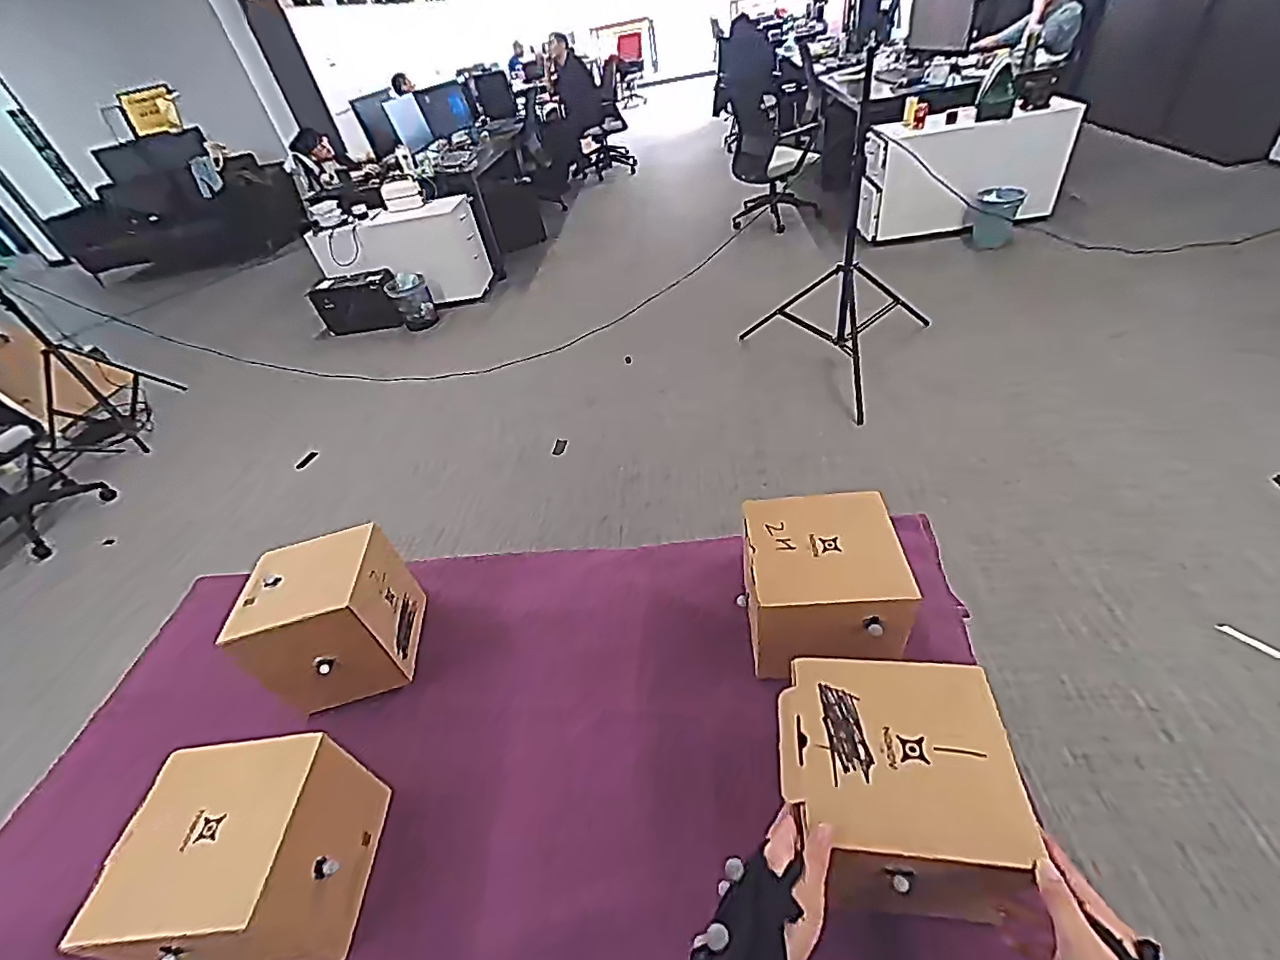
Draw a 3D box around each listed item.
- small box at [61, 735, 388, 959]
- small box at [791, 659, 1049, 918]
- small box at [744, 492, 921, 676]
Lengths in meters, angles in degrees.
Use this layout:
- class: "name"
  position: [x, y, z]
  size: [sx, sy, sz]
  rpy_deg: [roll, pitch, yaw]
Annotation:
- class: "small box"
  position: [-0.398, 0.391, 0.564]
  size: [0.179, 0.176, 0.168]
  rpy_deg: [-9, 41, 4]
- class: "small box"
  position: [0.239, 0.292, 0.518]
  size: [0.179, 0.176, 0.168]
  rpy_deg: [-1, 42, 12]
- class: "small box"
  position: [0.229, 0.136, 0.694]
  size: [0.179, 0.176, 0.168]
  rpy_deg: [-5, 42, 8]
